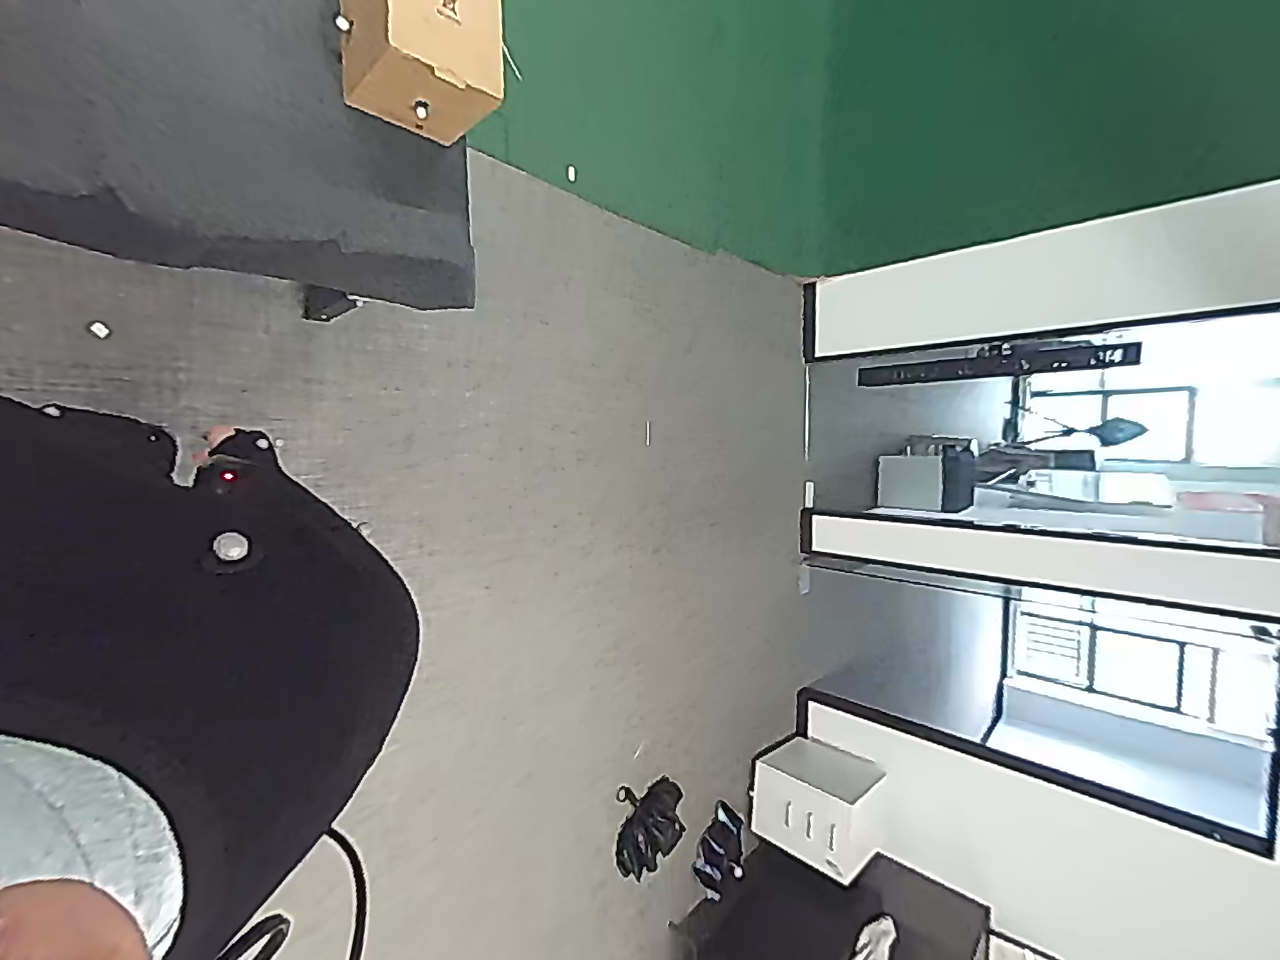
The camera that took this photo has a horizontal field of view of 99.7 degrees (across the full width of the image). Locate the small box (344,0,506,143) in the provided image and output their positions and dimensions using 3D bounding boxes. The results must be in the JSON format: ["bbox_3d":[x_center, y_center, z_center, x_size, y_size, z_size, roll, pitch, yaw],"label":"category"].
[{"bbox_3d":[-0.308,-0.623,0.772,0.168,0.176,0.179,-4,96,-46],"label":"small box"}]
